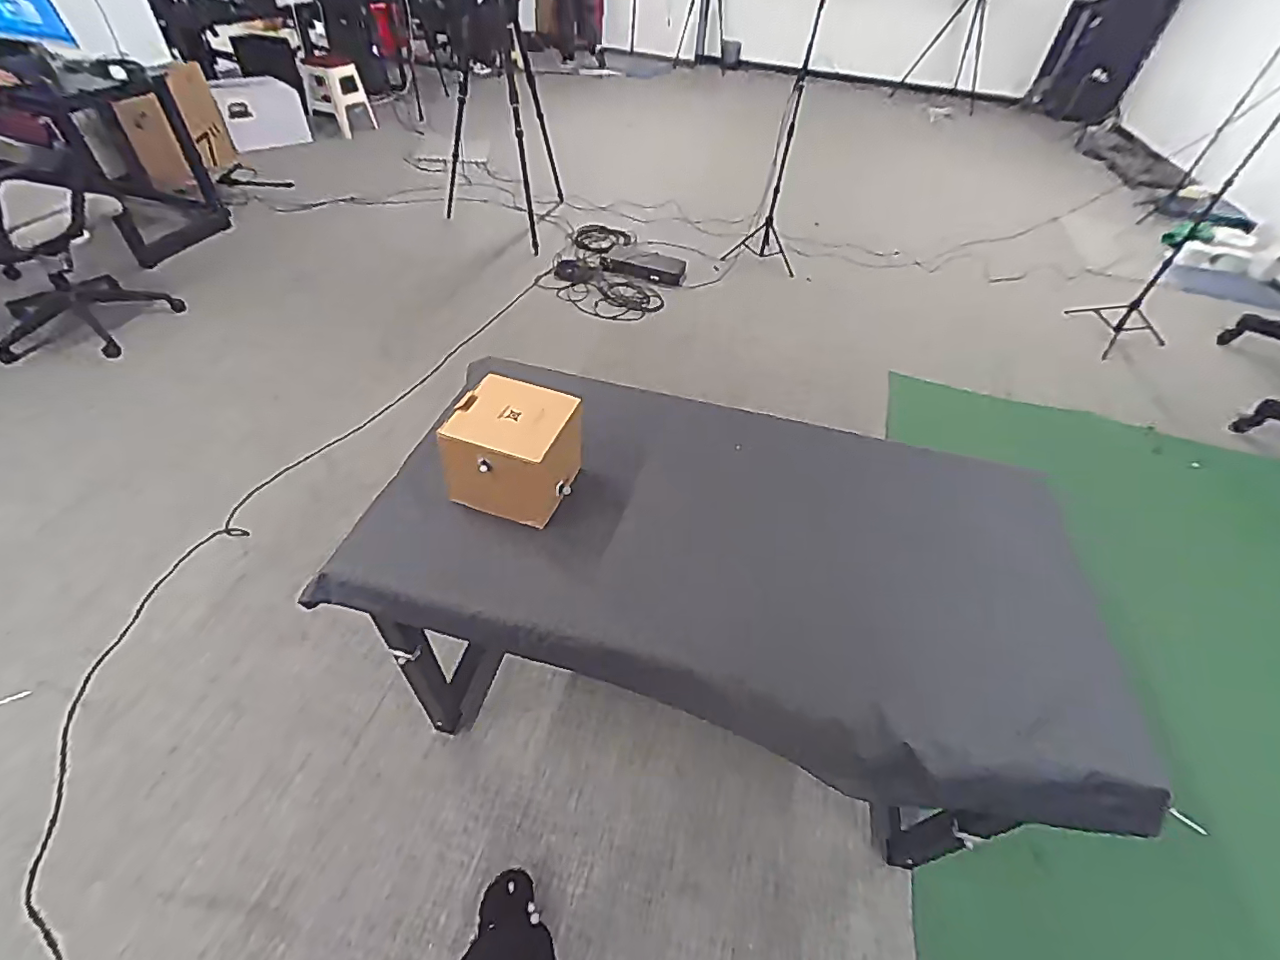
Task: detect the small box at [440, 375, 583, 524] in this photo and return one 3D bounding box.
[{"bbox_3d":[-0.209,-0.048,0.927,0.179,0.176,0.168,17,49,8],"label":"small box"}]
